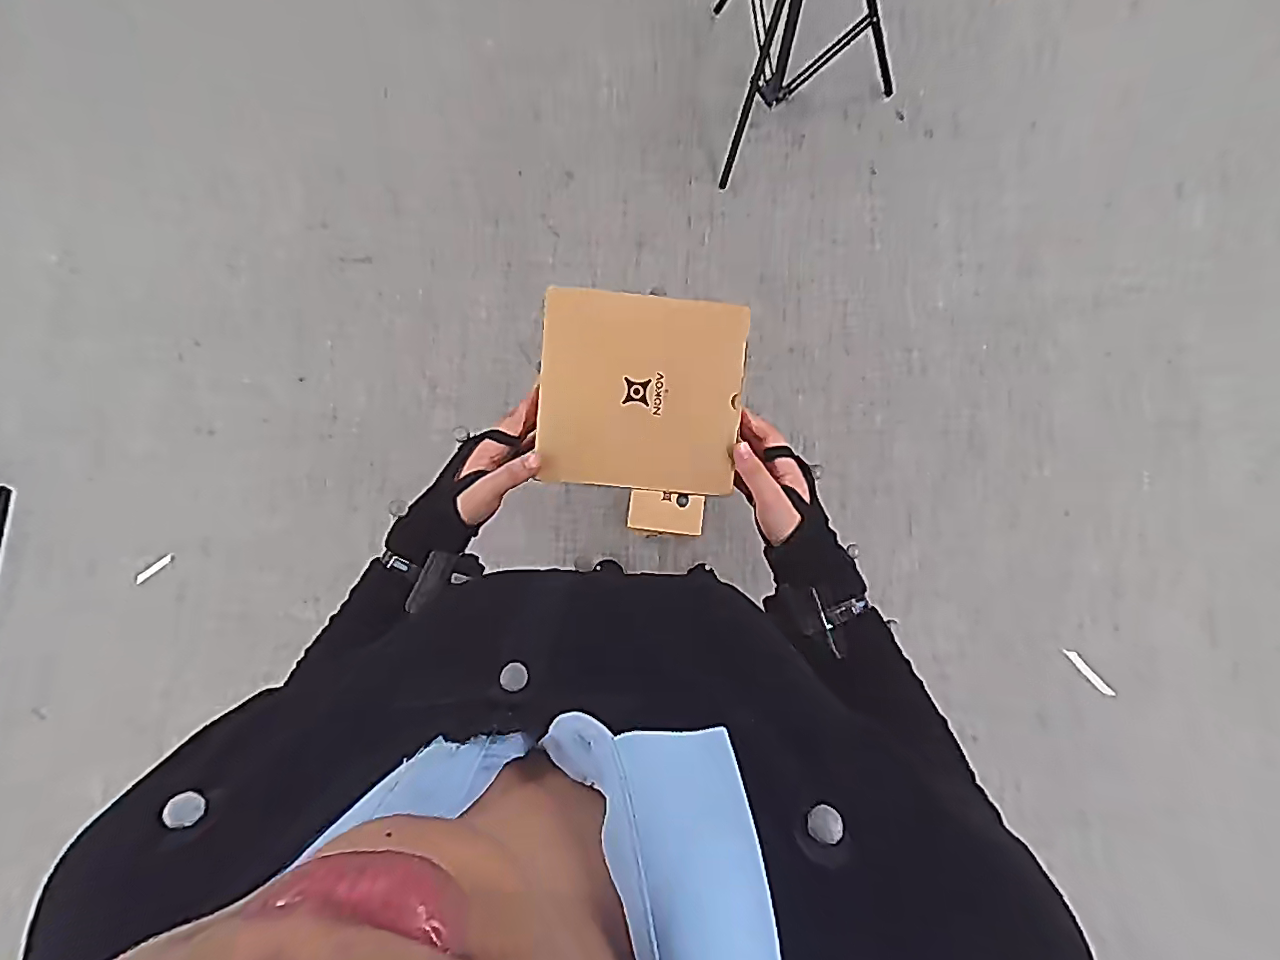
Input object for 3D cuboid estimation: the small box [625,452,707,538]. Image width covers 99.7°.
[{"bbox_3d":[0.064,0.041,1.278,0.168,0.176,0.179,7,82,4],"label":"small box"}]
